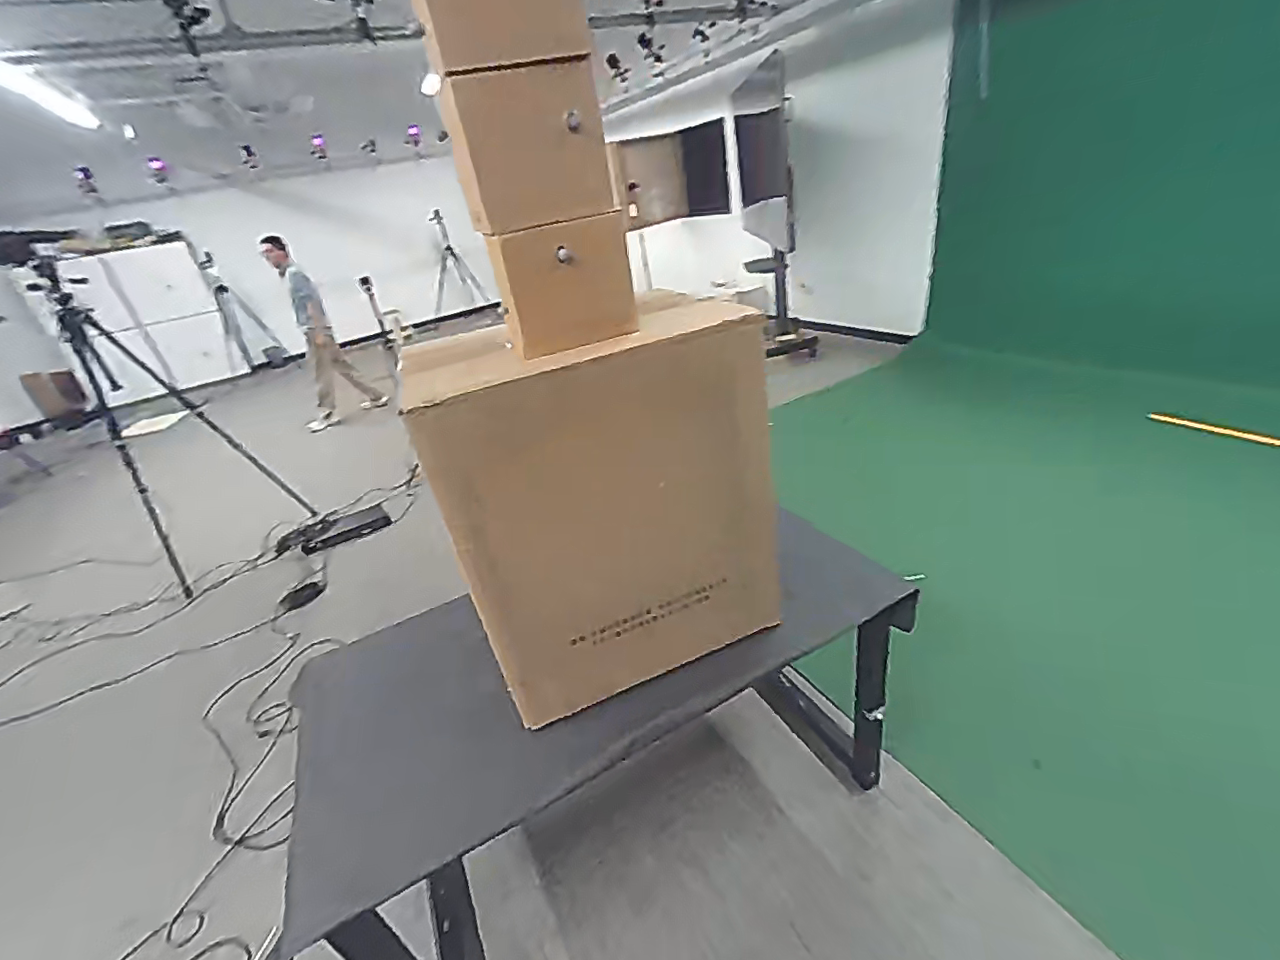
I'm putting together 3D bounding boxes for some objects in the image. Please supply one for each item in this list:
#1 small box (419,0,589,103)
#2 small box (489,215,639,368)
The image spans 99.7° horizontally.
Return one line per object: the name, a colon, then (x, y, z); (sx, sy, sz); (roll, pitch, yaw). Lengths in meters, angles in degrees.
small box: (-0.167, -0.564, 0.642); (0.179, 0.176, 0.168); (-17, 31, -12)
small box: (-0.109, -0.285, 0.805); (0.179, 0.176, 0.168); (-18, 31, -14)
